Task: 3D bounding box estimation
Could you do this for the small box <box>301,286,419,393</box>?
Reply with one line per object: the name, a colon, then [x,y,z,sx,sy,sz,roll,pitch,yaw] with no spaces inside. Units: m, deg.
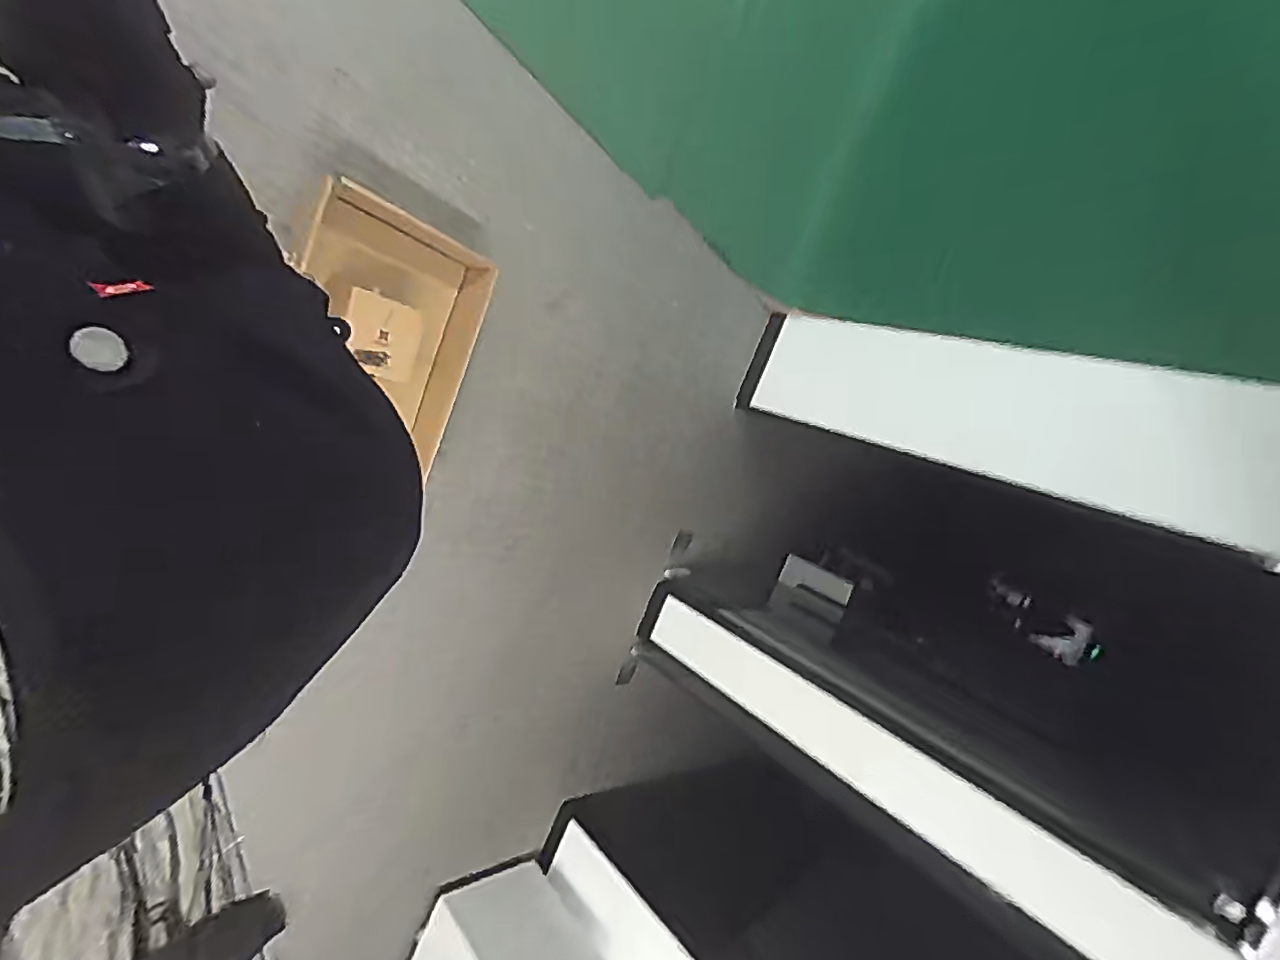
small box: [-0.633,-0.316,1.212,0.168,0.176,0.179,12,98,-51]
